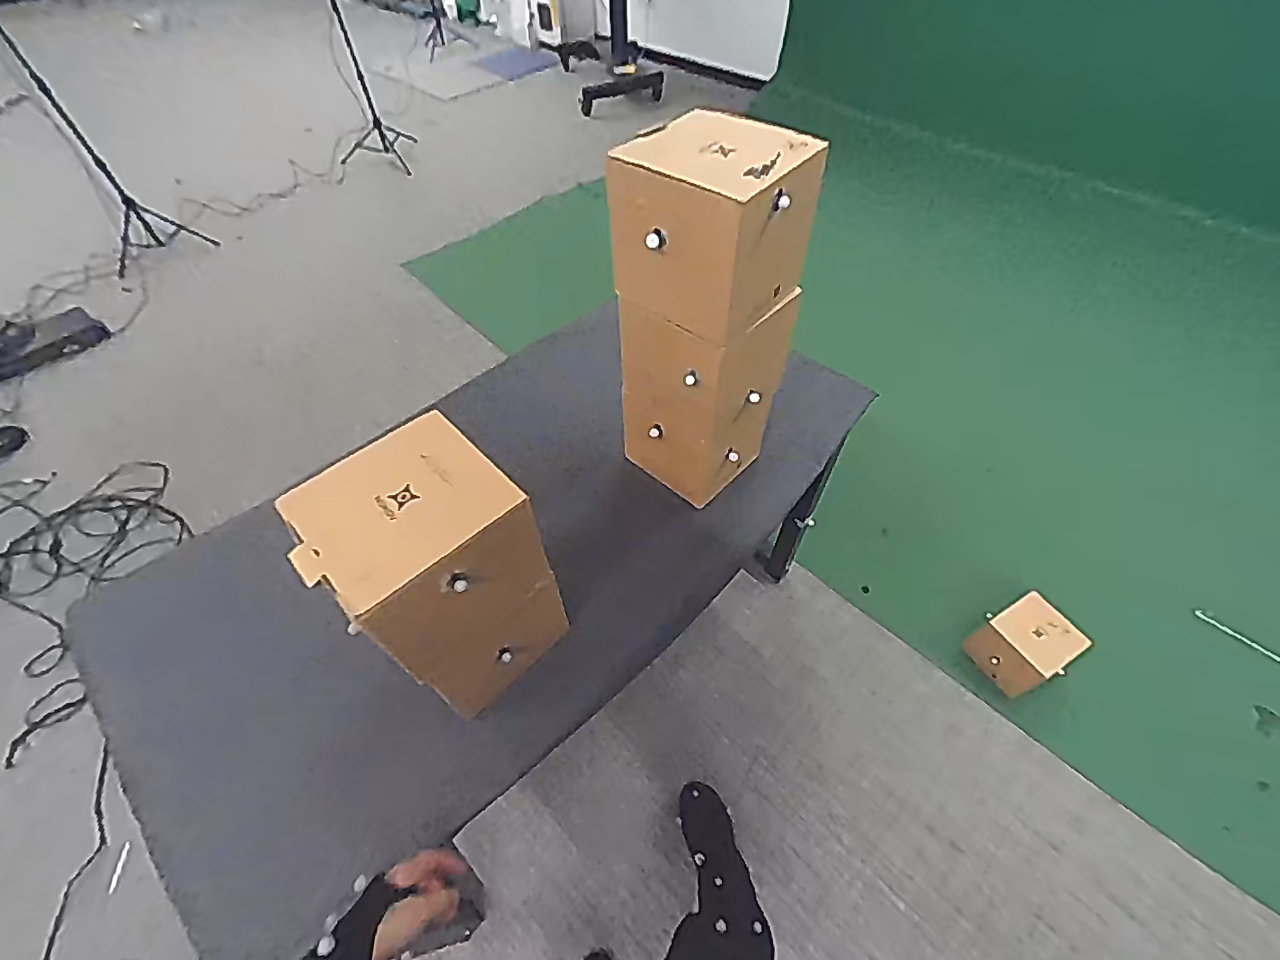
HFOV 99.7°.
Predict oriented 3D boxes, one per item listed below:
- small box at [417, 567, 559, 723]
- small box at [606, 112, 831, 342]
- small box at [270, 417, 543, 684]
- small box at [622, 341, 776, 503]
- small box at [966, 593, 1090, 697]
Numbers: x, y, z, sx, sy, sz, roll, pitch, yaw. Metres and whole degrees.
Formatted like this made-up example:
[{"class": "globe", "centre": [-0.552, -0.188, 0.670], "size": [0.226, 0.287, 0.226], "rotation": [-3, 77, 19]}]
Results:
[{"class": "small box", "centre": [-0.218, 0.171, 0.686], "size": [0.168, 0.176, 0.179], "rotation": [37, 62, 26]}, {"class": "small box", "centre": [0.083, -0.286, 0.618], "size": [0.179, 0.176, 0.168], "rotation": [33, 60, 25]}, {"class": "small box", "centre": [-0.220, 0.075, 0.555], "size": [0.179, 0.176, 0.168], "rotation": [-38, 61, -26]}, {"class": "small box", "centre": [0.091, -0.087, 0.879], "size": [0.179, 0.176, 0.168], "rotation": [36, 61, 26]}, {"class": "small box", "centre": [0.982, 0.429, 1.392], "size": [0.179, 0.176, 0.168], "rotation": [-25, 57, -17]}]
